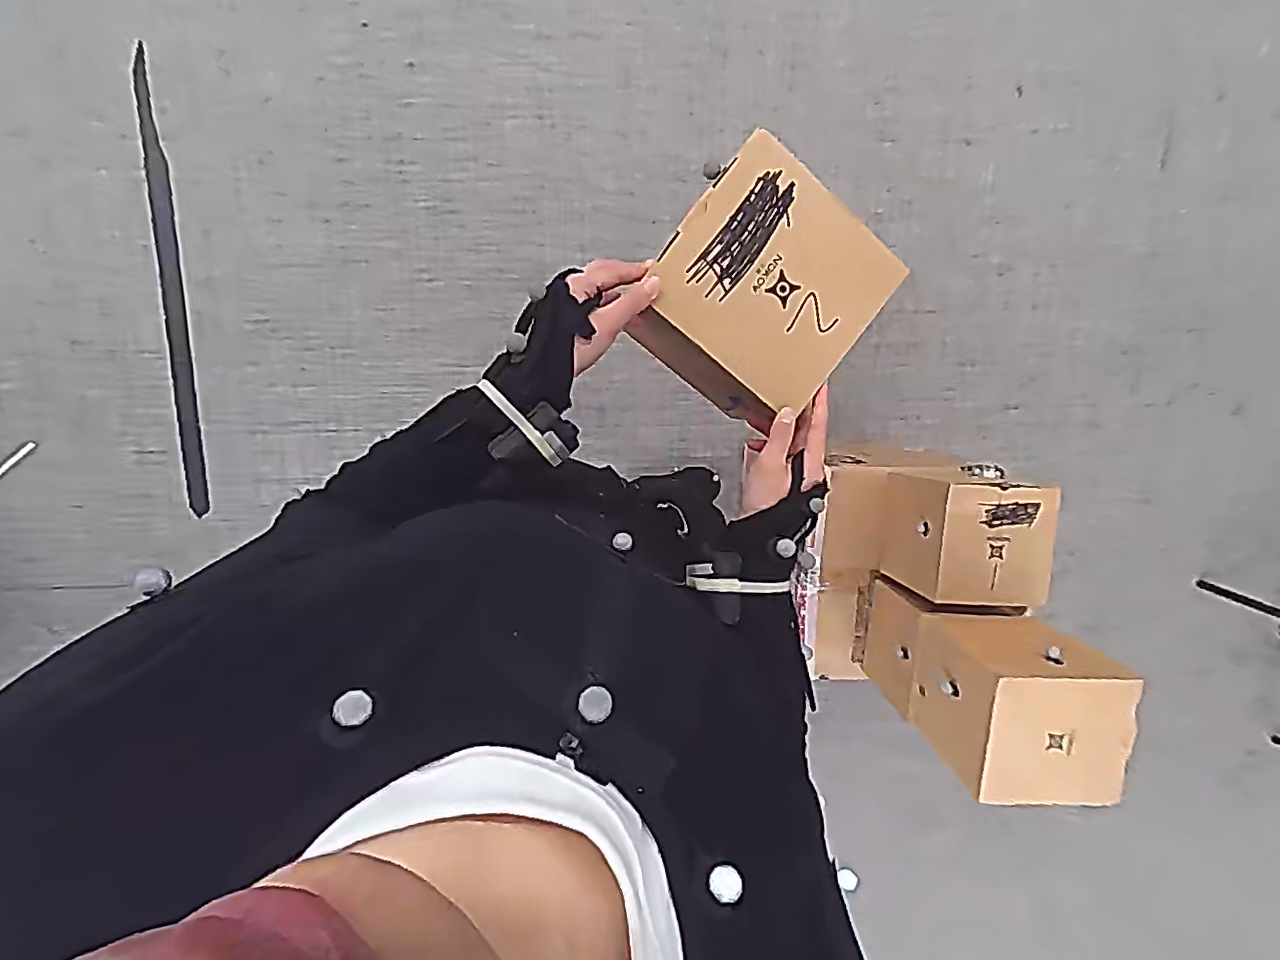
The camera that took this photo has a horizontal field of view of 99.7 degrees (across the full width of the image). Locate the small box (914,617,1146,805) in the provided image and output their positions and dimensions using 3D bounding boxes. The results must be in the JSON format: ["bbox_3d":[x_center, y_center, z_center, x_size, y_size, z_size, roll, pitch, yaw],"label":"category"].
[{"bbox_3d":[0.489,0.290,0.707,0.179,0.176,0.168,1,99,-3],"label":"small box"}]
